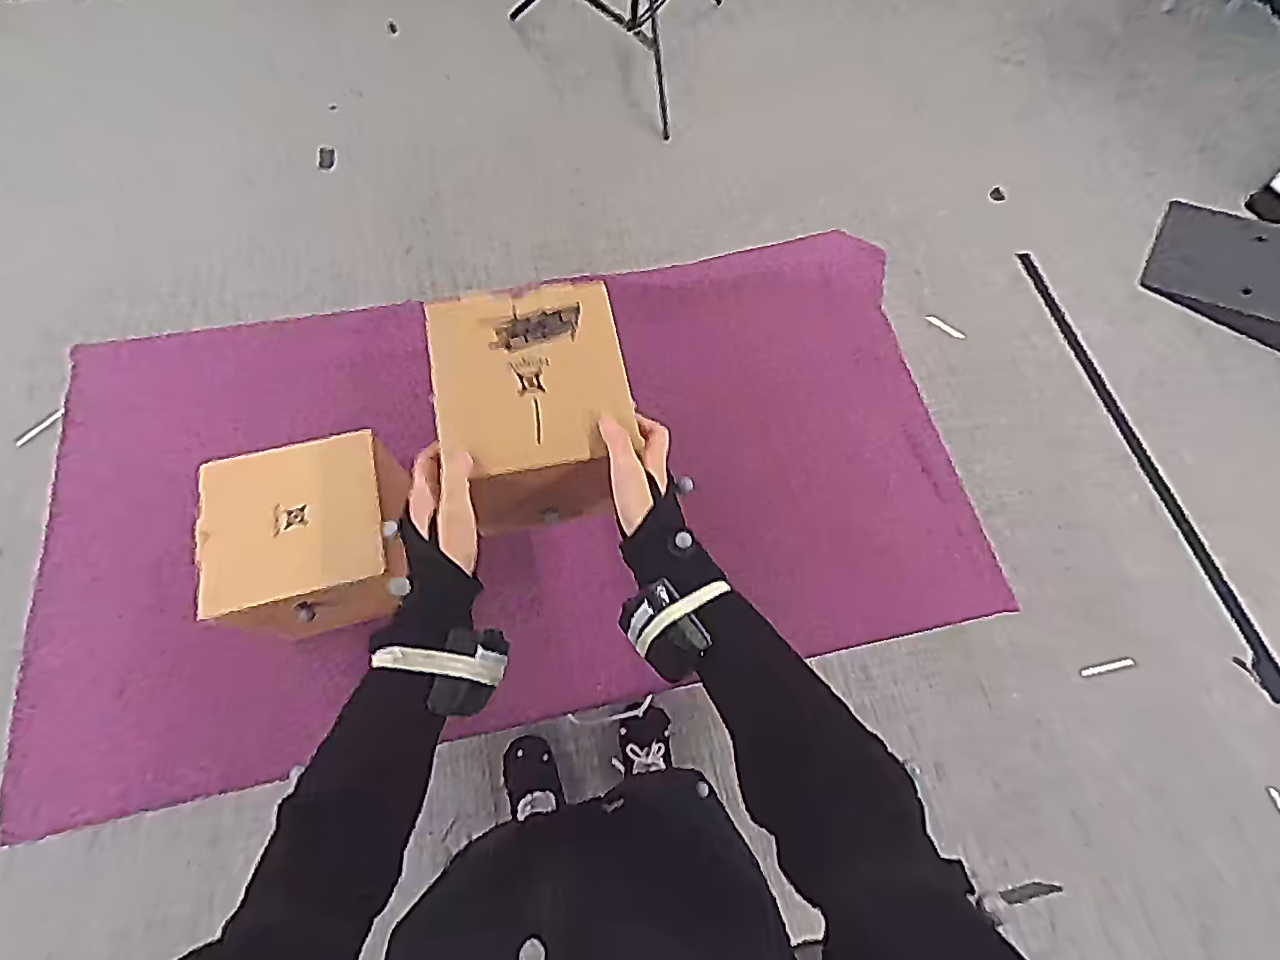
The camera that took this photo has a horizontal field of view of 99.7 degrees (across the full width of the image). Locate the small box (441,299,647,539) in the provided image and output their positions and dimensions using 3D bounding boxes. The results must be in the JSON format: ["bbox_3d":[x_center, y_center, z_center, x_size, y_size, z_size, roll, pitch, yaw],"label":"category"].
[{"bbox_3d":[-0.096,-0.055,0.556,0.168,0.176,0.179,-10,70,-8],"label":"small box"}]

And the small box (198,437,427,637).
[{"bbox_3d":[-0.360,0.073,0.624,0.179,0.176,0.168,-14,70,-8],"label":"small box"}]
